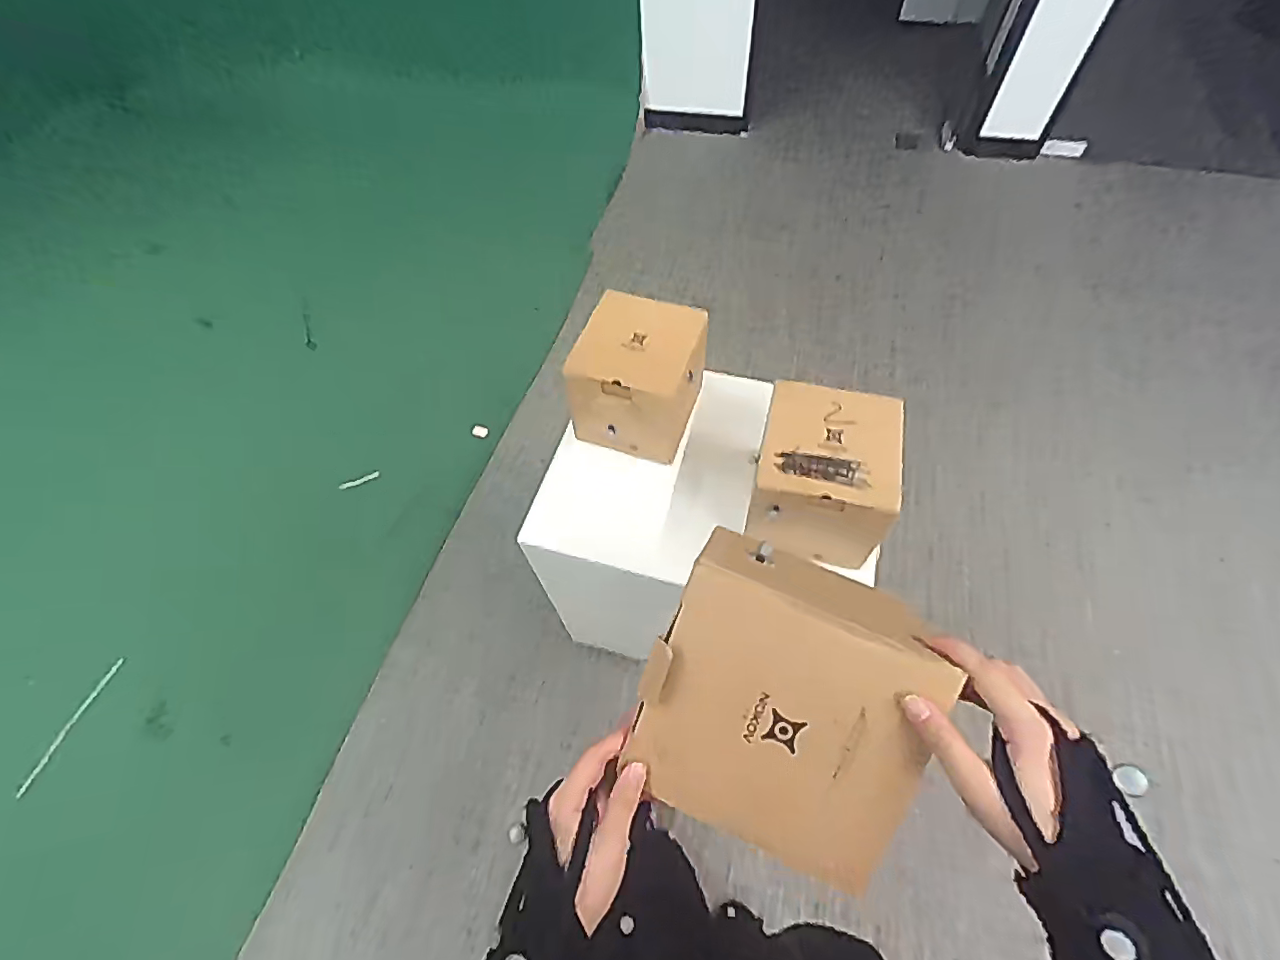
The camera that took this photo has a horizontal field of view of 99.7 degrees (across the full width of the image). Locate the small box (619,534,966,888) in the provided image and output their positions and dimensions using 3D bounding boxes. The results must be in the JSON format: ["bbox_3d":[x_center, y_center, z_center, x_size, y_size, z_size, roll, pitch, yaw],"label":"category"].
[{"bbox_3d":[0.107,0.150,0.425,0.179,0.176,0.168,20,98,10],"label":"small box"}]

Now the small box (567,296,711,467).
[{"bbox_3d":[0.003,-0.150,0.843,0.168,0.176,0.179,16,62,12],"label":"small box"}]
